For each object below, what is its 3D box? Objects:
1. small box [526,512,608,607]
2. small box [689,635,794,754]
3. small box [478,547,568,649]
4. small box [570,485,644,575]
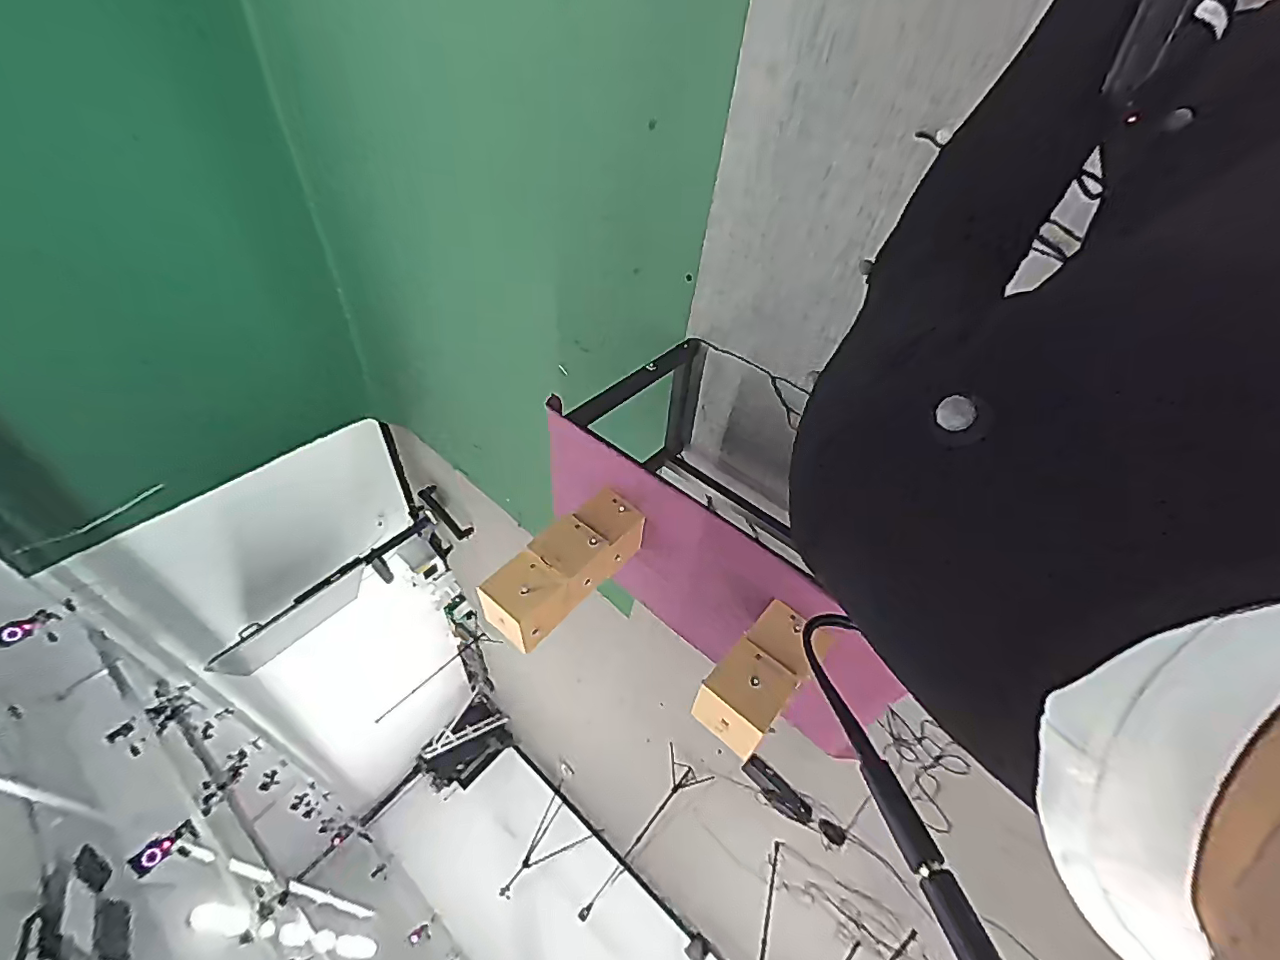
[{"bbox_3d":[-0.206,0.223,1.558,0.168,0.176,0.179,34,144,23],"label":"small box"},{"bbox_3d":[0.244,0.508,1.293,0.168,0.176,0.179,35,142,24],"label":"small box"},{"bbox_3d":[-0.312,0.316,1.476,0.168,0.176,0.179,32,143,24],"label":"small box"},{"bbox_3d":[-0.104,0.150,1.664,0.168,0.176,0.179,35,143,21],"label":"small box"}]
